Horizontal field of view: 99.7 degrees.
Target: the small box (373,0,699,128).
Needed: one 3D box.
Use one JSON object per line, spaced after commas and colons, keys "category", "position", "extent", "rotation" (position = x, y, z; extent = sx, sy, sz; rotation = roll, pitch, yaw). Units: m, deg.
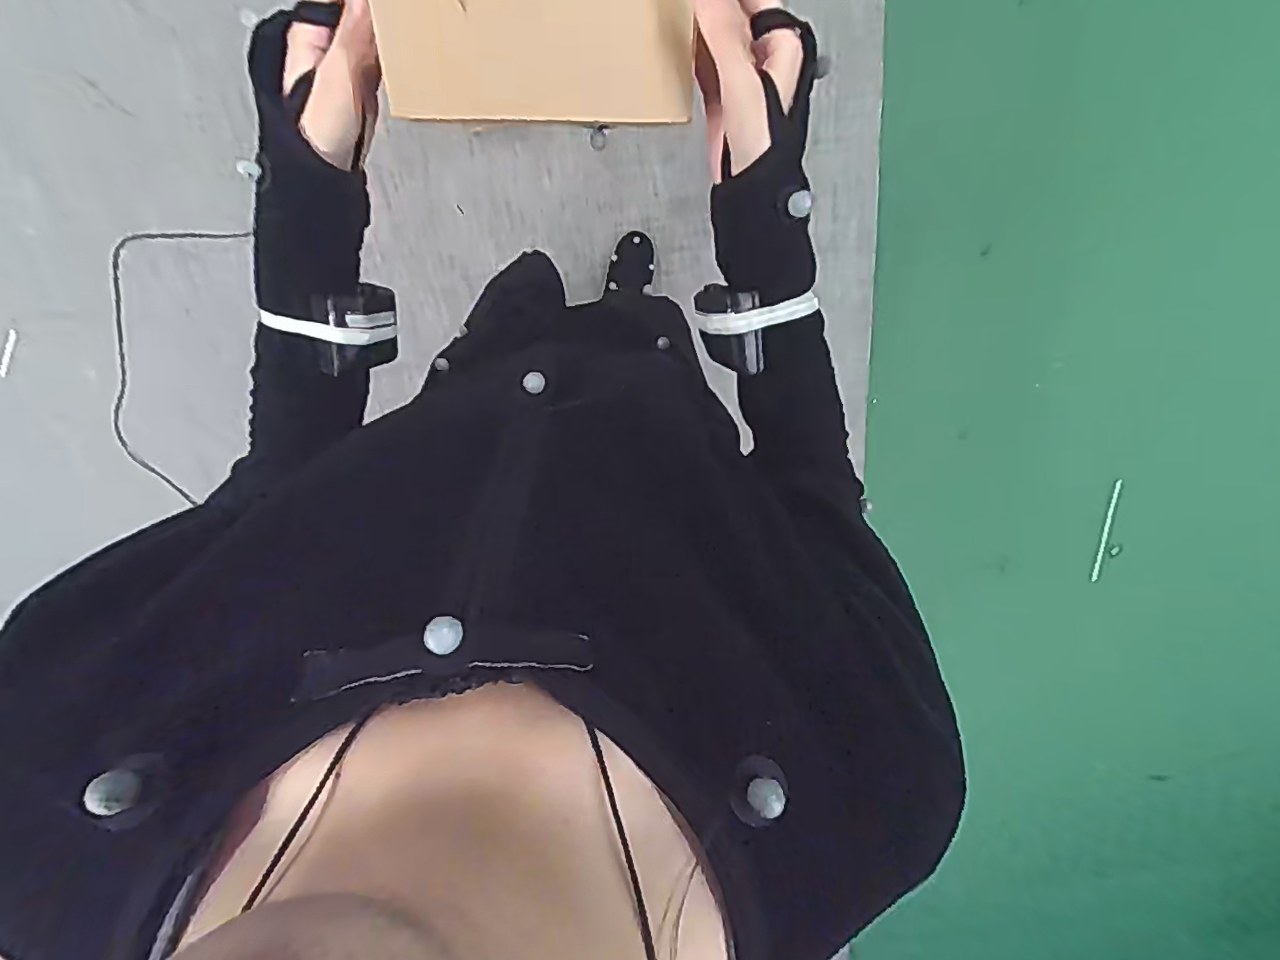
{"category": "small box", "position": [-0.073, -0.320, 0.337], "extent": [0.179, 0.176, 0.168], "rotation": [-9, 124, -13]}
